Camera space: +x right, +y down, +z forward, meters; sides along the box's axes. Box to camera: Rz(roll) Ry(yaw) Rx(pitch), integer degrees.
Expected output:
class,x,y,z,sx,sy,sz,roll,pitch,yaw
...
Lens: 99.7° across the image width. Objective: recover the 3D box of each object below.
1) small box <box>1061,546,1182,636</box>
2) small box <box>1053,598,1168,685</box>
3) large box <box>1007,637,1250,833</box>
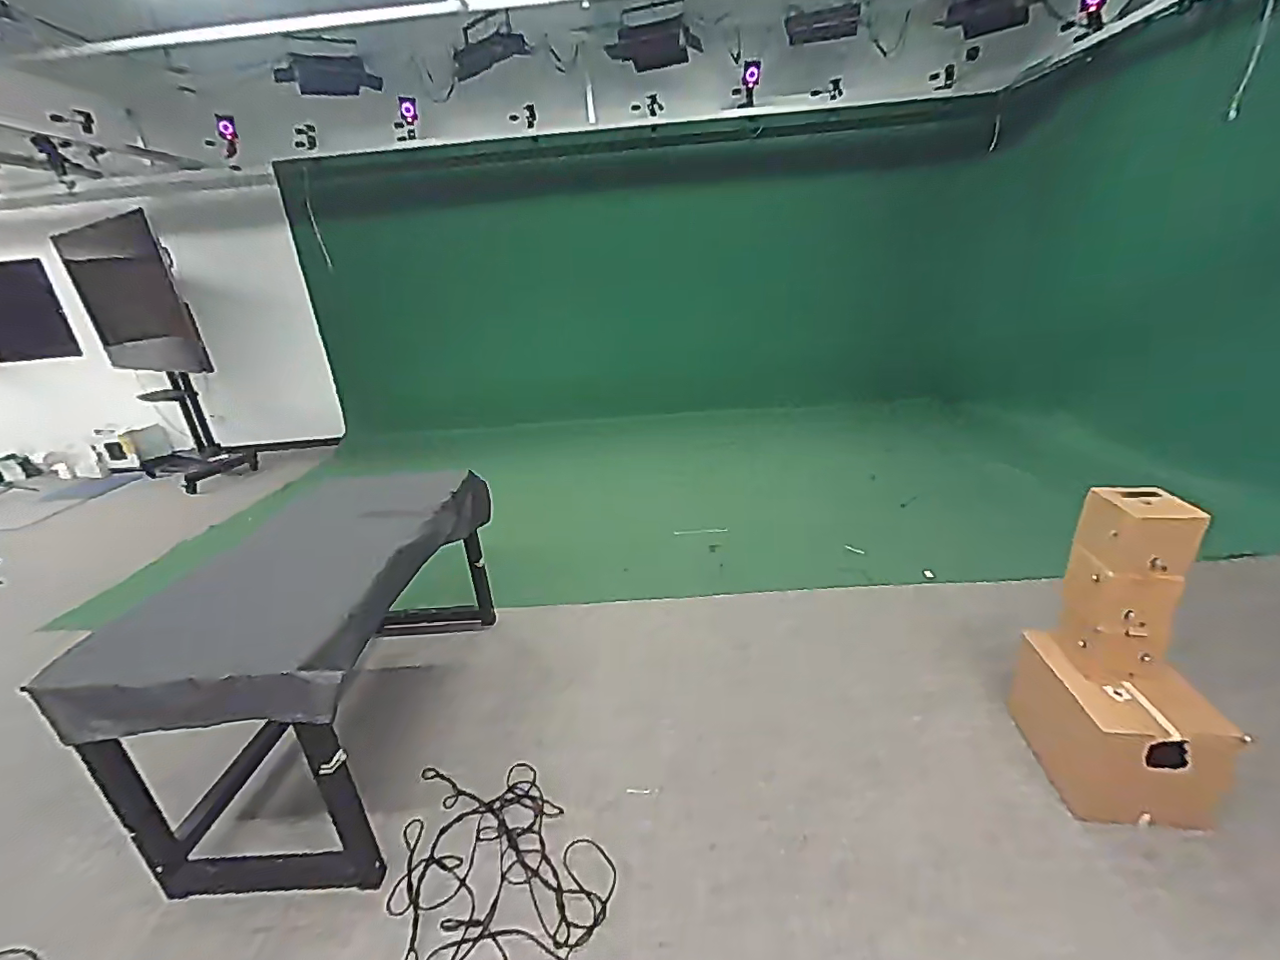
class,x,y,z,sx,sy,sz,roll,pitch,yaw
small box,1.283,0.296,1.458,0.168,0.176,0.179,0,23,10
small box,1.301,0.449,1.509,0.168,0.176,0.179,0,21,8
large box,1.325,0.699,1.532,0.320,0.320,0.408,-3,22,9
